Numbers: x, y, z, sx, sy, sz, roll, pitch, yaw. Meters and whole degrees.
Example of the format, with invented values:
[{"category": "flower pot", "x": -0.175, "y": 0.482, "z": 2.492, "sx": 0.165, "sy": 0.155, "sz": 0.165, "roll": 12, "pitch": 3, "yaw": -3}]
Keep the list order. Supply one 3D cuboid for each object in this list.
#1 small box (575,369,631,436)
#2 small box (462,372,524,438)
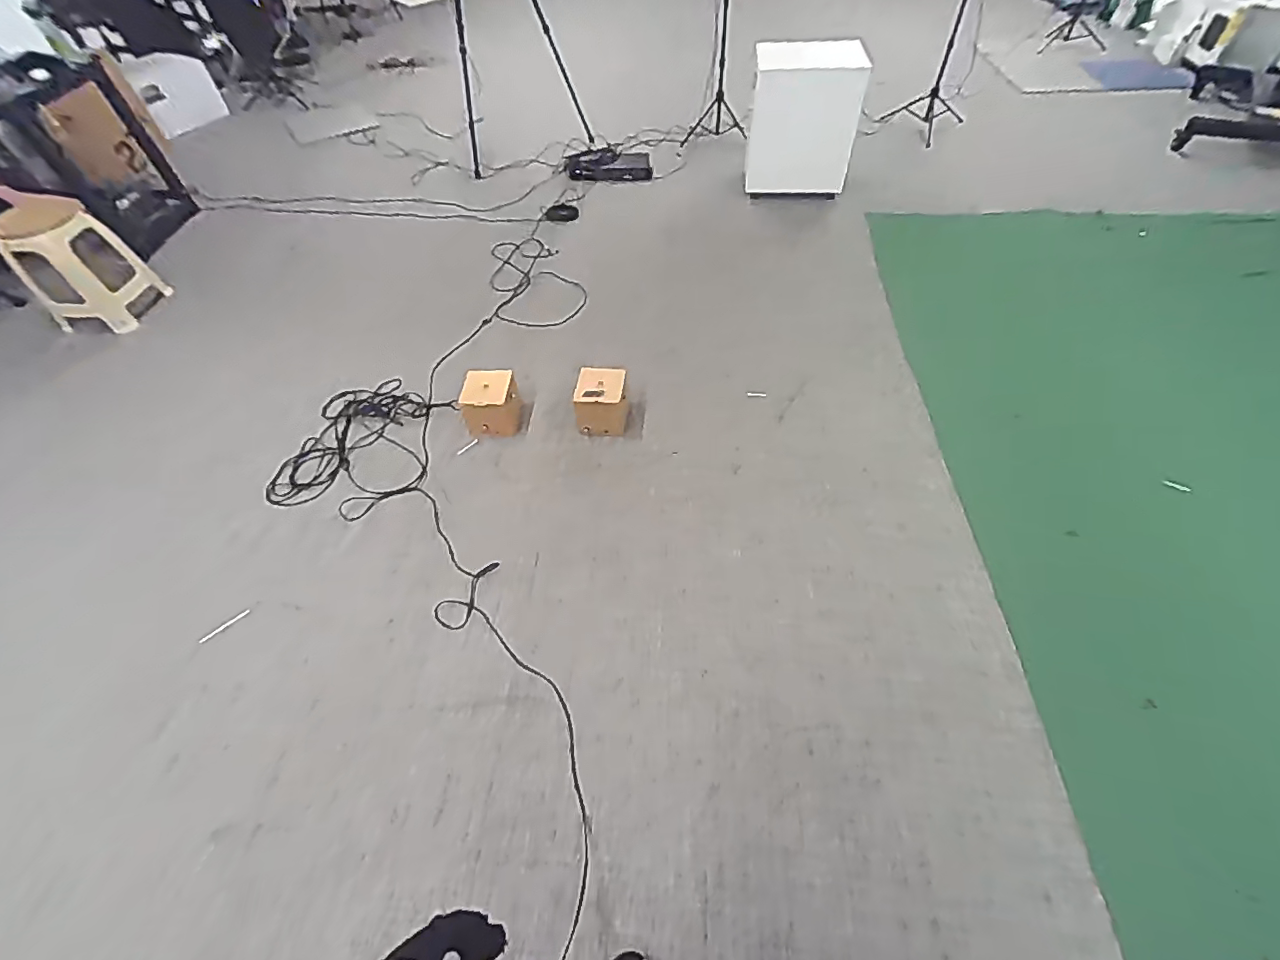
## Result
[{"category": "small box", "x": -0.128, "y": -0.278, "z": 1.955, "sx": 0.168, "sy": 0.176, "sz": 0.179, "roll": 4, "pitch": 53, "yaw": 7}, {"category": "small box", "x": -0.530, "y": -0.276, "z": 1.979, "sx": 0.168, "sy": 0.176, "sz": 0.179, "roll": 0, "pitch": 53, "yaw": 4}]
